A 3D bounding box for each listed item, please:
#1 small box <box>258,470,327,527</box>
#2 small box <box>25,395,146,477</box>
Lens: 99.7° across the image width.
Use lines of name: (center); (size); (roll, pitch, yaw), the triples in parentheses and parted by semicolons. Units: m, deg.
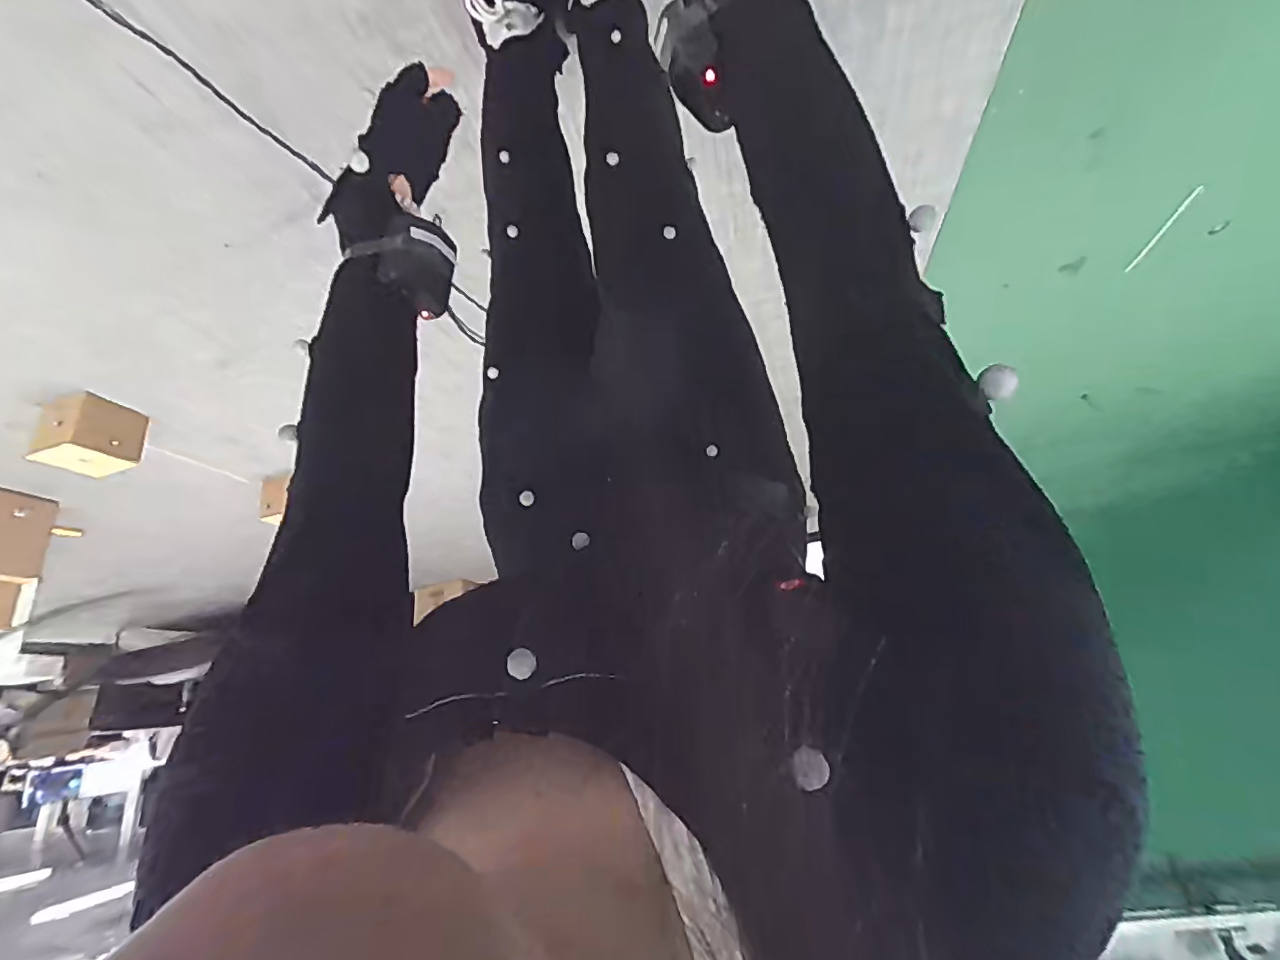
small box: (-1.394, 0.076, 2.181); (0.179, 0.176, 0.168); (-13, 159, 11)
small box: (-1.586, -0.130, 1.556); (0.168, 0.176, 0.179); (-14, 160, 11)
